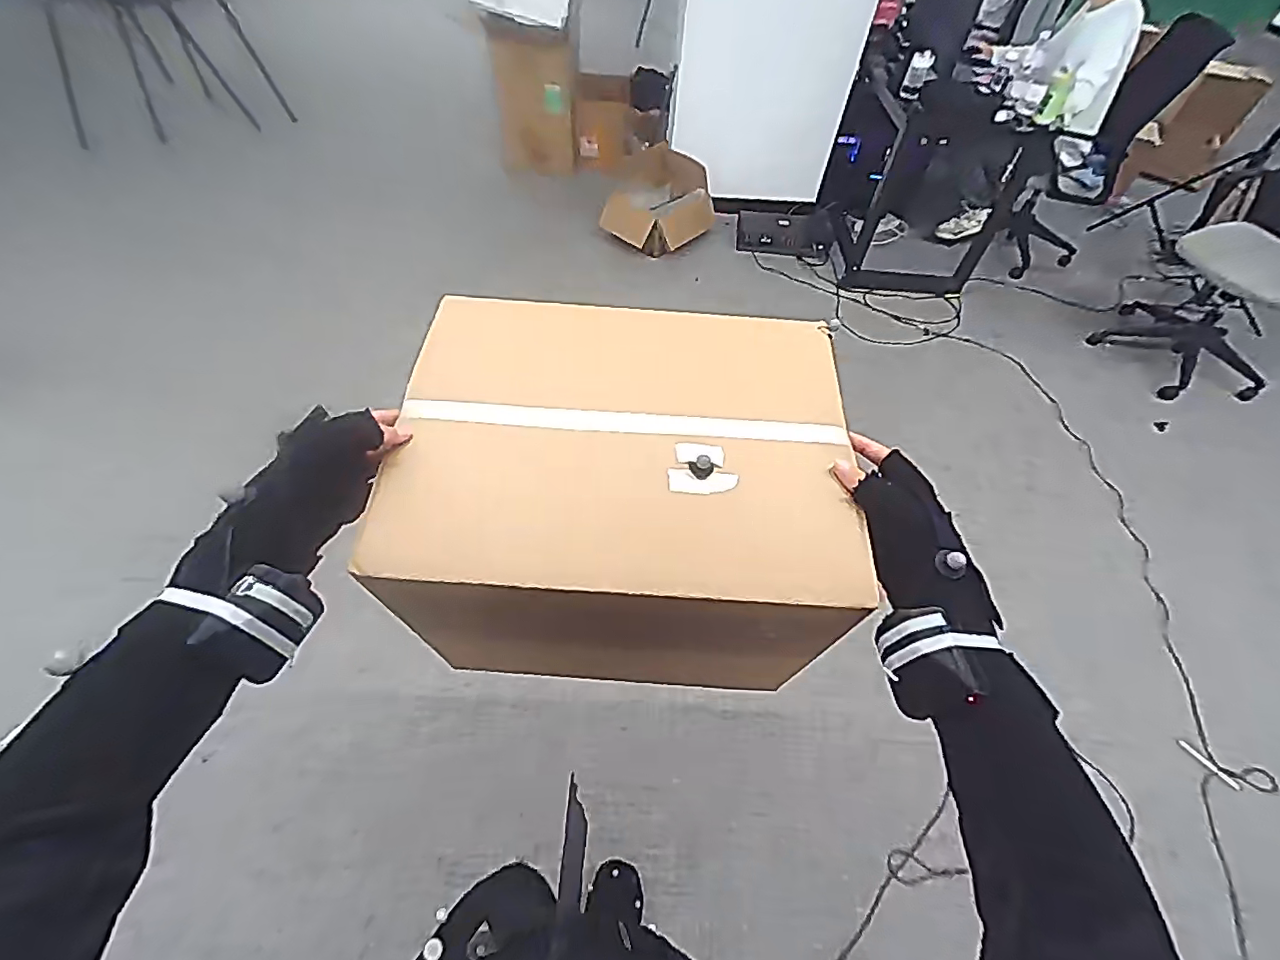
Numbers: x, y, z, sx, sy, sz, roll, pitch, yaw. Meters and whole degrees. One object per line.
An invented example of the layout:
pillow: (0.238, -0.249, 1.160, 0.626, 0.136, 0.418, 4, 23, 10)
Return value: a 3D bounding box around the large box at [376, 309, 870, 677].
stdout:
large box: (-0.015, 0.033, 0.632, 0.408, 0.320, 0.320, 4, 59, -1)
